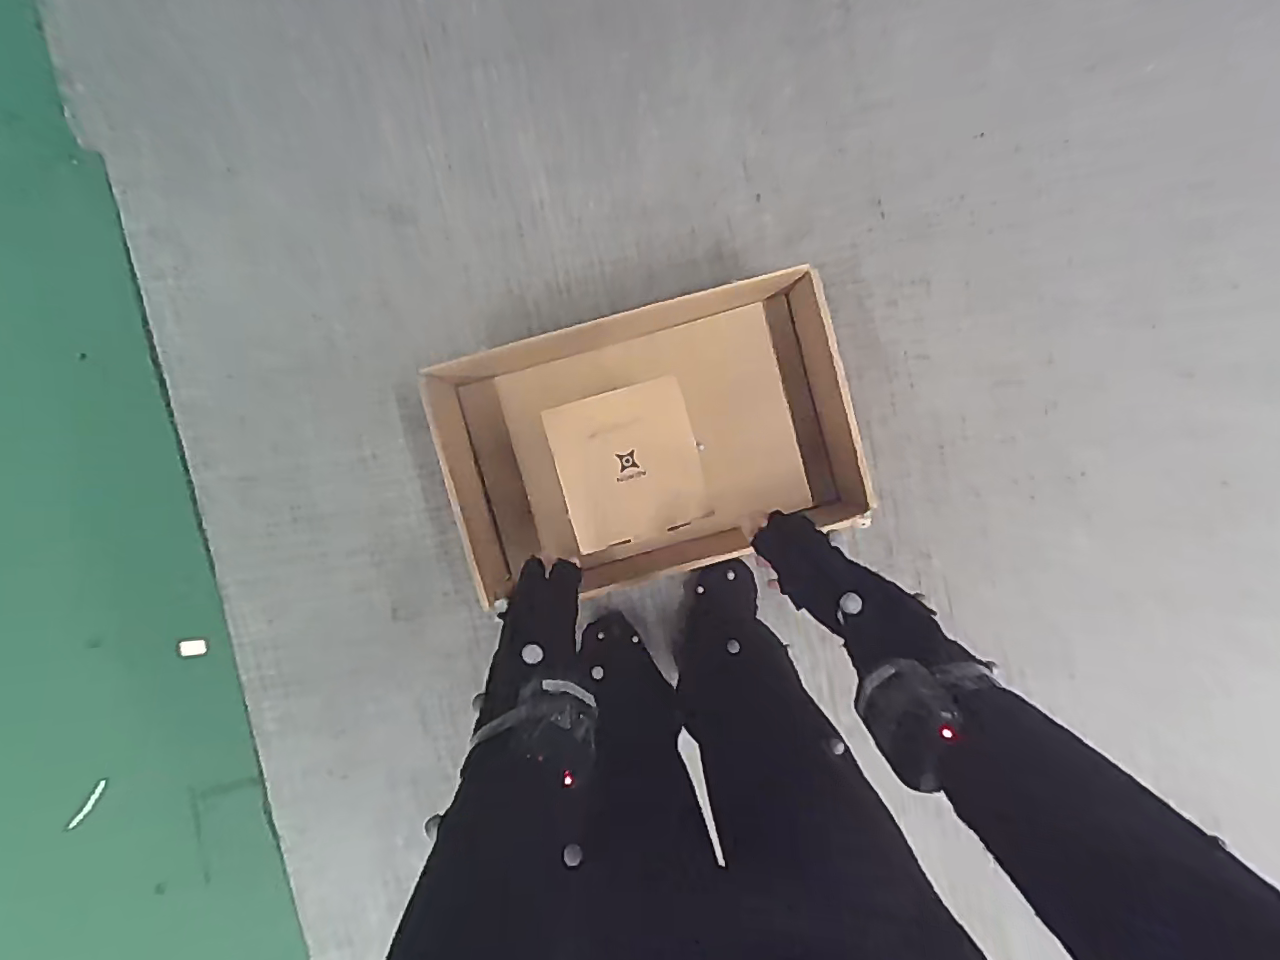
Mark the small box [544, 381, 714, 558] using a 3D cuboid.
[{"bbox_3d":[-0.012,-0.014,0.705,0.168,0.176,0.179,-16,91,-1],"label":"small box"}]
